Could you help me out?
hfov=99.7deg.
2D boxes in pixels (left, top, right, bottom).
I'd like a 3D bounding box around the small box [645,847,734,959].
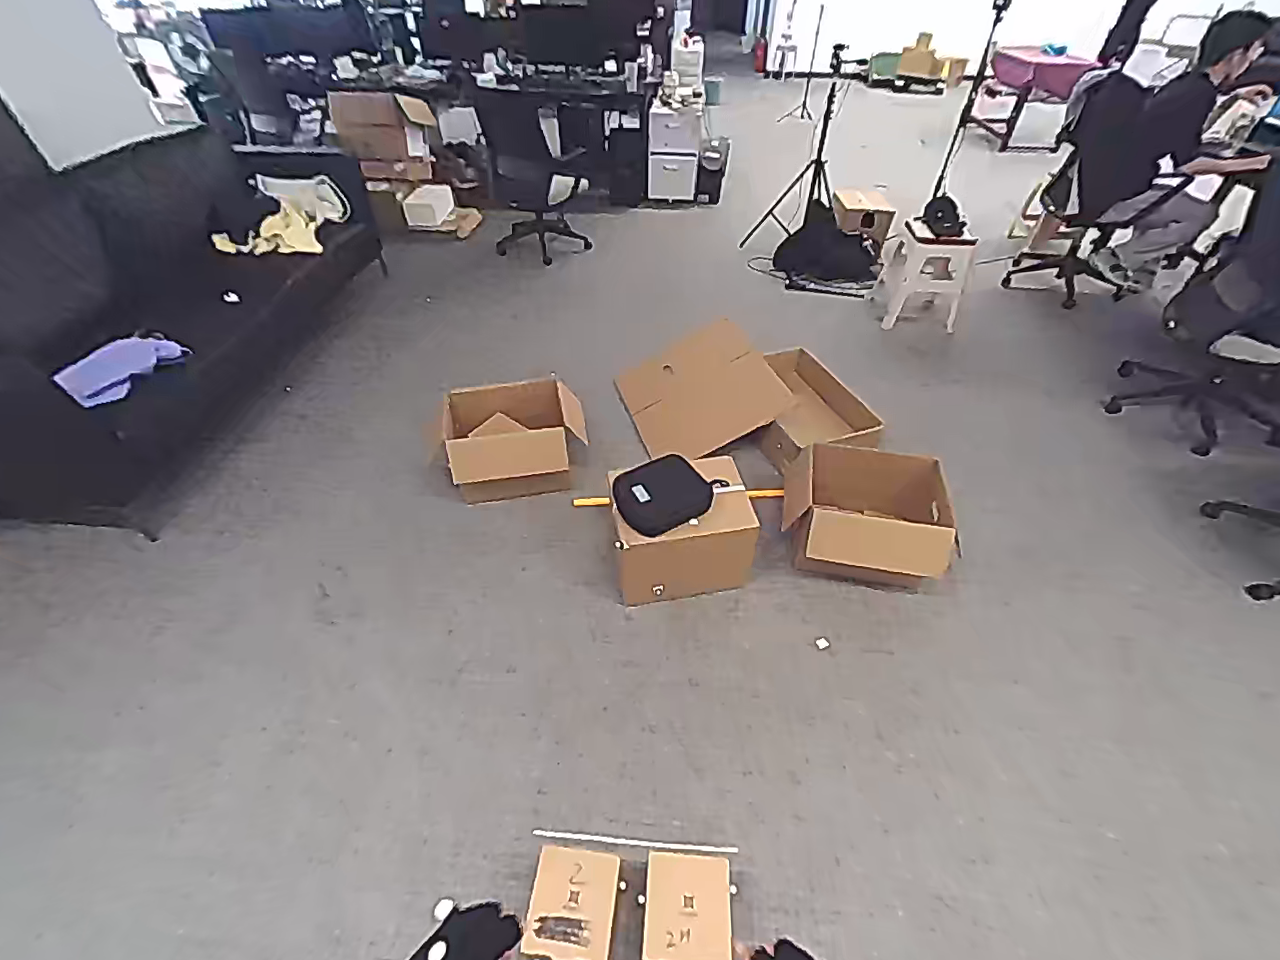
[{"bbox_3d":[0.098,0.877,1.099,0.168,0.176,0.179,2,45,4],"label":"small box"}]
